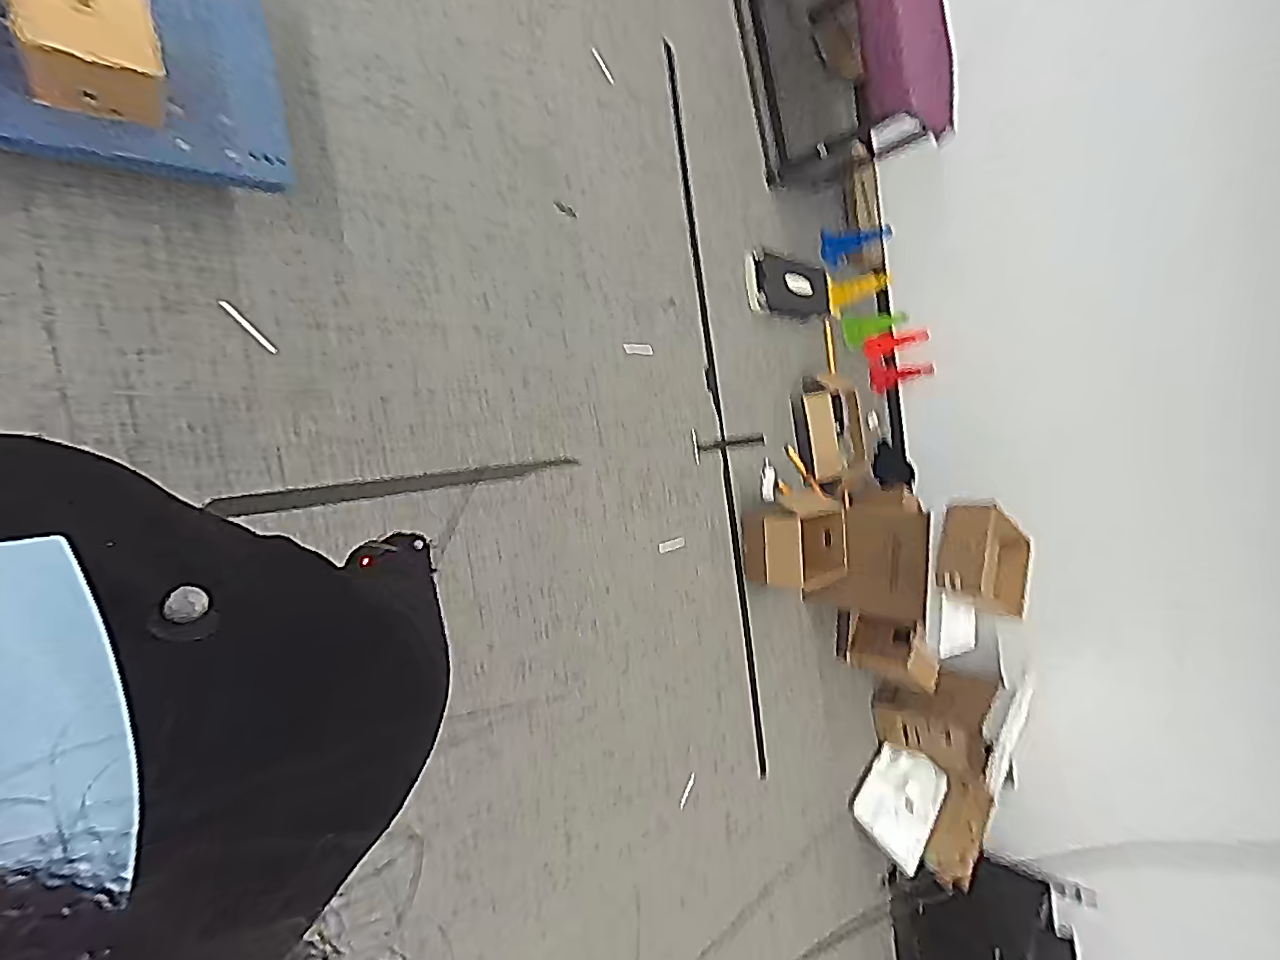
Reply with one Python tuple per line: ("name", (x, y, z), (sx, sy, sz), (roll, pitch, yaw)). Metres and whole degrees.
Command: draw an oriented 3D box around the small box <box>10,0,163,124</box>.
("small box", (-0.932, -0.750, 0.909), (0.168, 0.176, 0.179), (-13, 96, -43))
